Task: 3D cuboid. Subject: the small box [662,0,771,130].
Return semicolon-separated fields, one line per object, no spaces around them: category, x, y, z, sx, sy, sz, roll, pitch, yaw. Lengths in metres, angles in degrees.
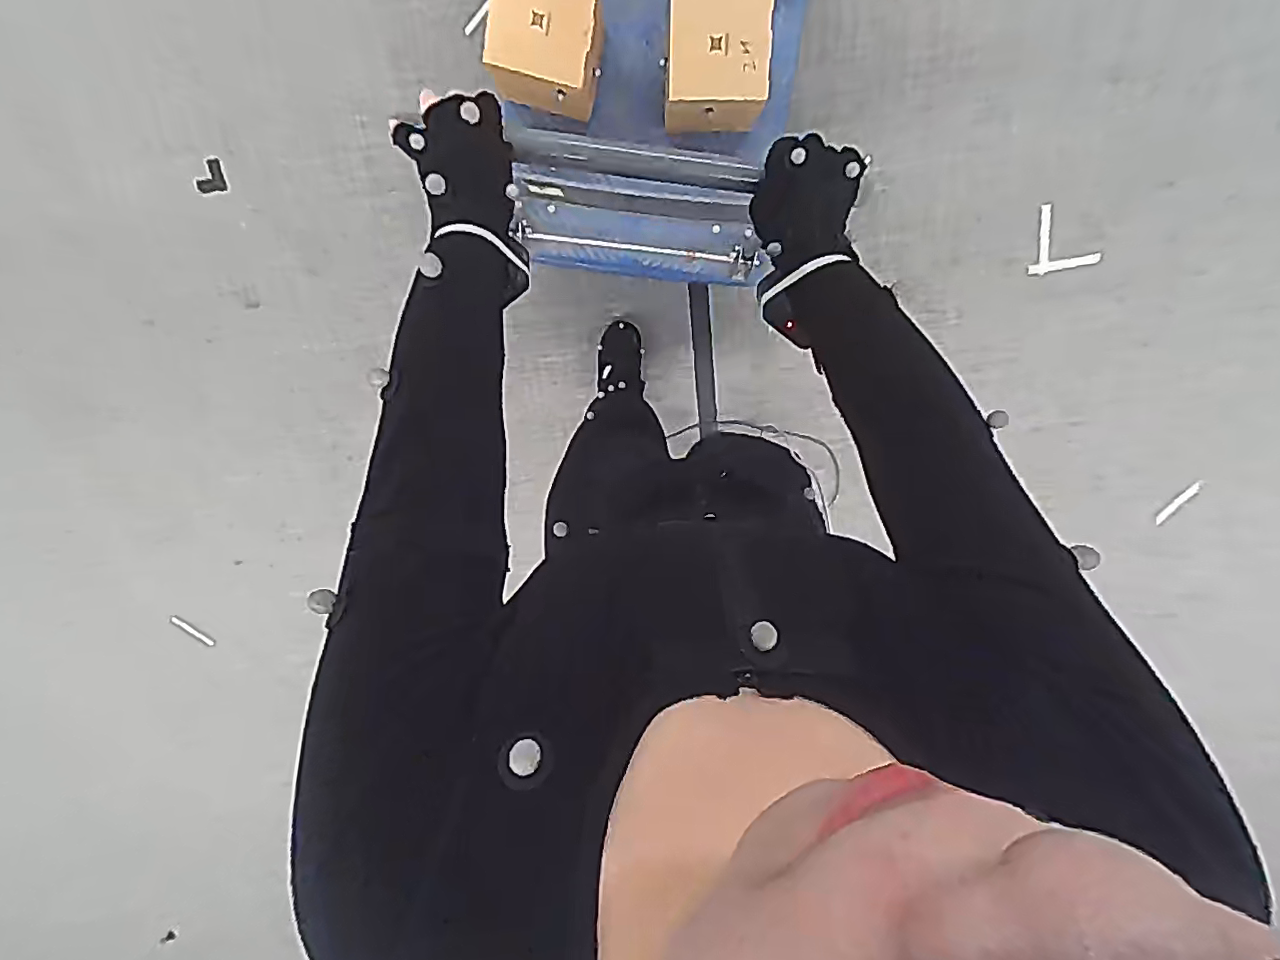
small box;0.131;-0.759;0.988;0.179;0.176;0.168;0;107;-1

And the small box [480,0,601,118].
small box;-0.172;-0.788;0.976;0.179;0.176;0.168;11;106;-6
